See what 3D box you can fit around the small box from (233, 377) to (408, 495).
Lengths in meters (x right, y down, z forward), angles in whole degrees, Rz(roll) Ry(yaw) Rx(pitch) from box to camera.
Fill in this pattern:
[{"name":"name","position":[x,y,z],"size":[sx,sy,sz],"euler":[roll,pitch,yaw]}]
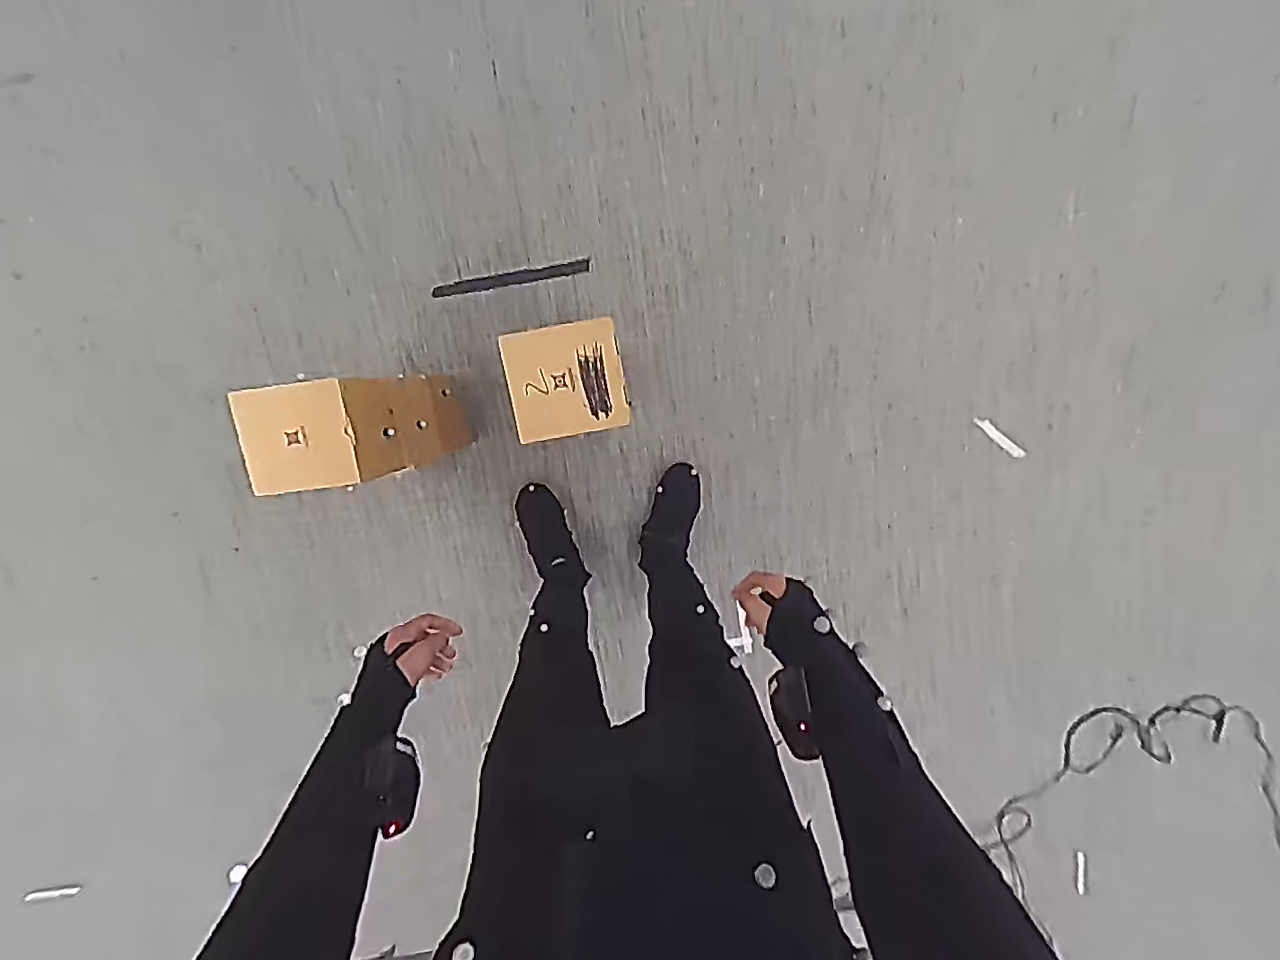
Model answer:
[{"name":"small box","position":[-0.521,-0.078,0.906],"size":[0.179,0.176,0.168],"euler":[-7,100,1]}]

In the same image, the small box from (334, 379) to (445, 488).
[{"name":"small box","position":[-0.509,-0.098,1.067],"size":[0.168,0.176,0.179],"euler":[-12,101,2]}]

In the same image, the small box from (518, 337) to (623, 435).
[{"name":"small box","position":[-0.129,-0.184,1.057],"size":[0.179,0.176,0.168],"euler":[-6,100,-1]}]

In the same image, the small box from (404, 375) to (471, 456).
[{"name":"small box","position":[-0.505,-0.133,1.227],"size":[0.168,0.176,0.179],"euler":[-14,100,2]}]
